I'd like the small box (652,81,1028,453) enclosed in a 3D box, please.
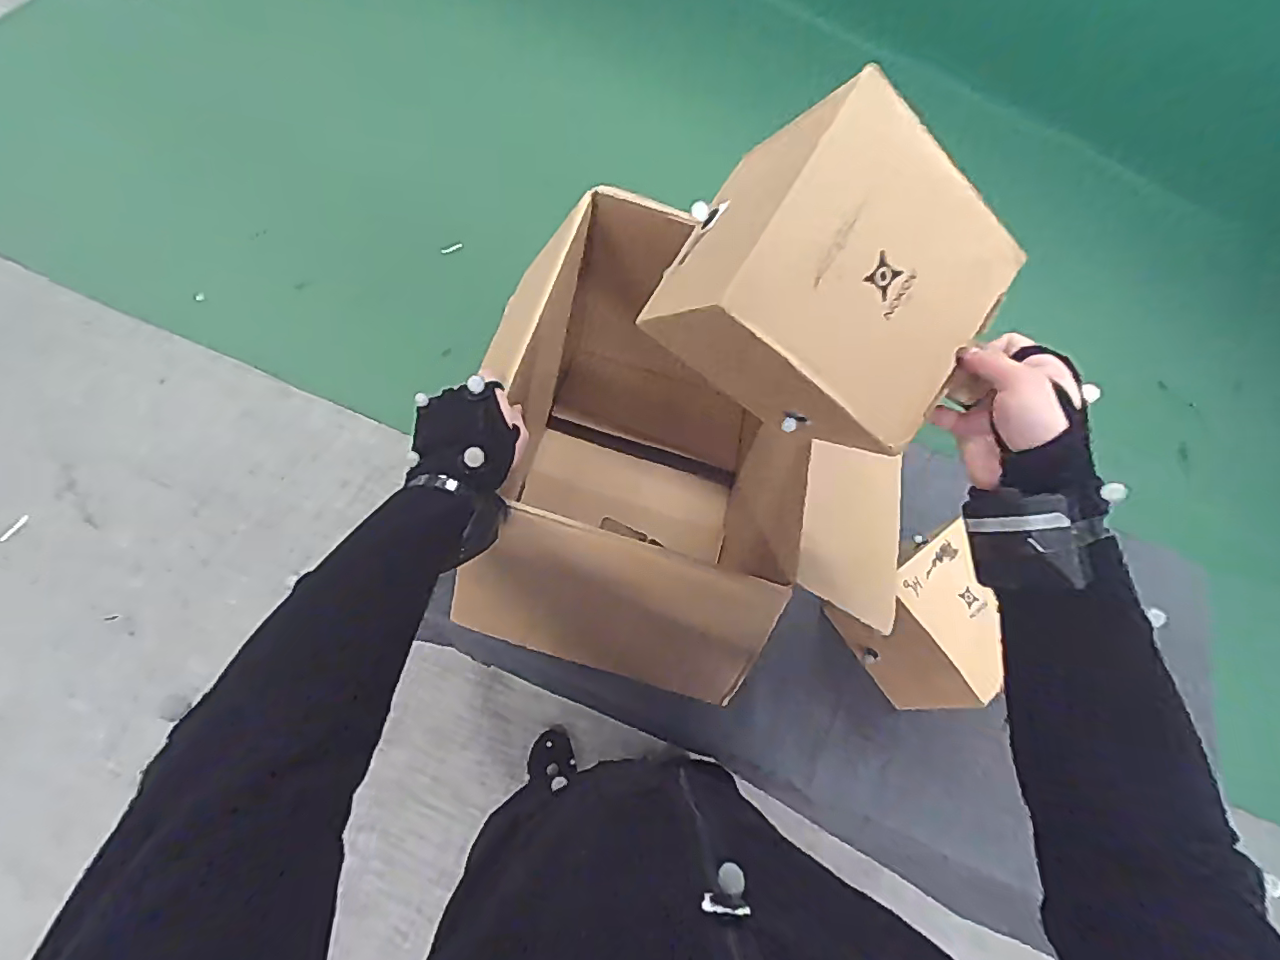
[{"bbox_3d":[0.138,-0.145,0.424,0.179,0.176,0.168,31,91,-21],"label":"small box"}]

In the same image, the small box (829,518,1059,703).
[{"bbox_3d":[0.404,0.183,0.748,0.168,0.176,0.179,-29,75,-19],"label":"small box"}]
